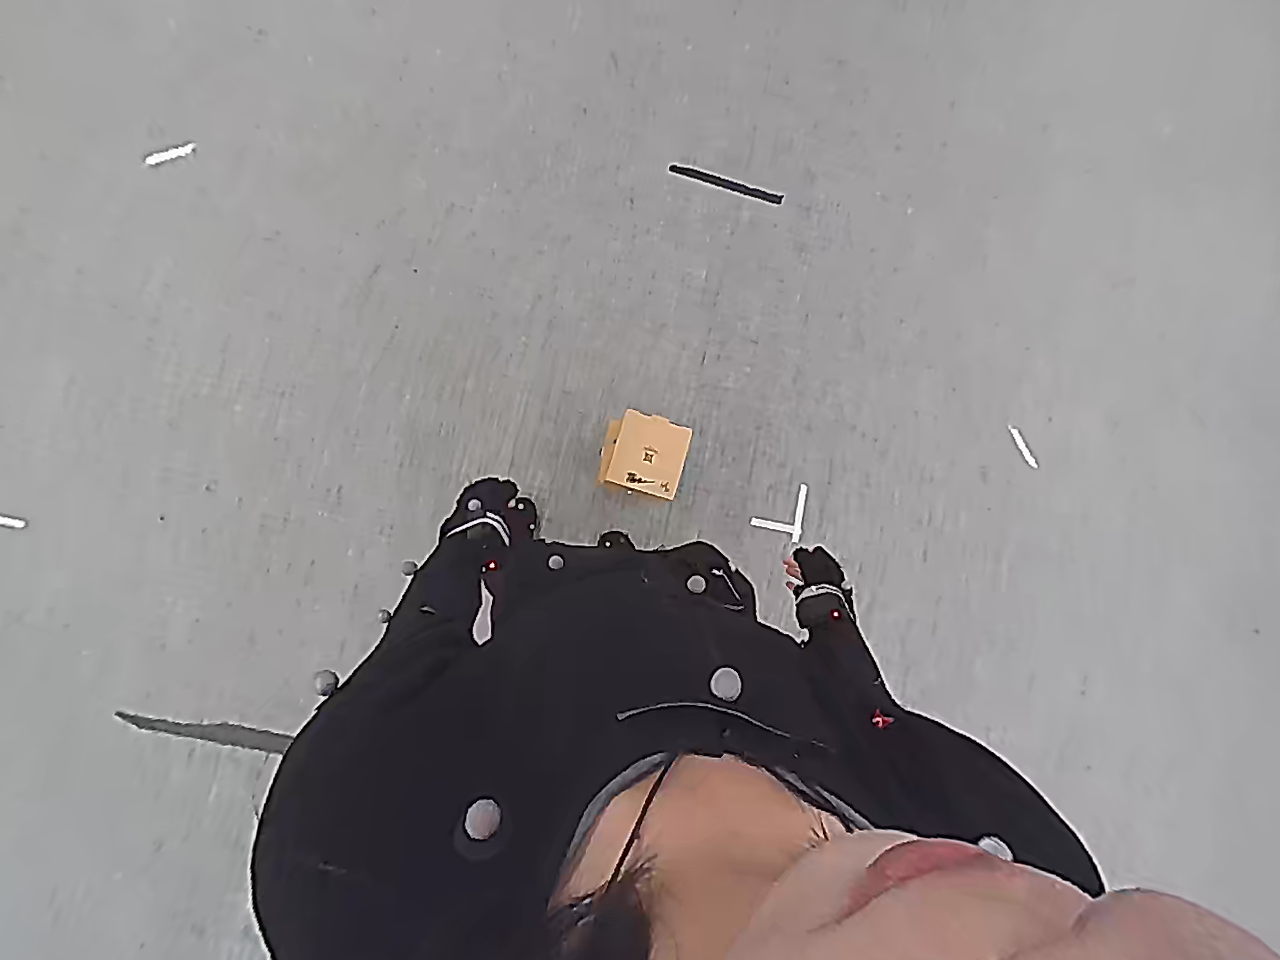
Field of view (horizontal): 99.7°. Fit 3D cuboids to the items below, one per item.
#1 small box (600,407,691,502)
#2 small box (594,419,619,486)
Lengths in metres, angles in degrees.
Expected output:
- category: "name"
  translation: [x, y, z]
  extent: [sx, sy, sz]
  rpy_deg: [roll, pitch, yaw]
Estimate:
- category: "small box"
  translation: [0.006, -0.054, 1.311]
  extent: [0.168, 0.176, 0.179]
  rpy_deg: [18, 82, -7]
- category: "small box"
  translation: [-0.023, -0.056, 1.473]
  extent: [0.179, 0.176, 0.168]
  rpy_deg: [11, 83, -7]
